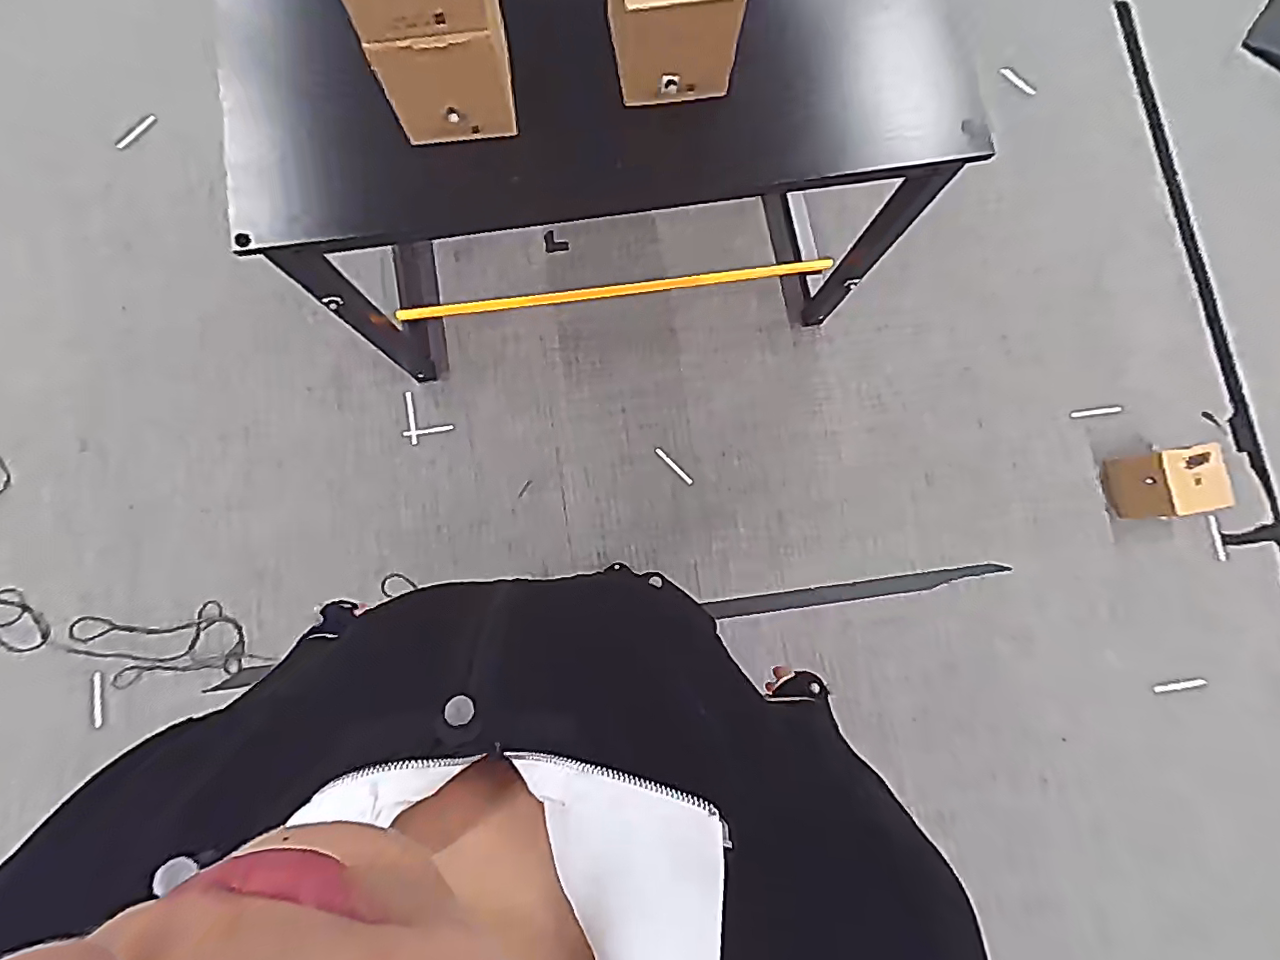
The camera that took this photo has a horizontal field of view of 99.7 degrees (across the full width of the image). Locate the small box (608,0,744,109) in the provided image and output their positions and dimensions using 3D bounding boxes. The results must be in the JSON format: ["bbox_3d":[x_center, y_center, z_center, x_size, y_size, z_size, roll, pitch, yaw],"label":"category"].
[{"bbox_3d":[0.044,-0.702,0.804,0.168,0.176,0.179,-10,84,-2],"label":"small box"}]

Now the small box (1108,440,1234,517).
[{"bbox_3d":[1.456,0.000,1.497,0.168,0.176,0.179,-10,84,-3],"label":"small box"}]

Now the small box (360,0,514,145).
[{"bbox_3d":[-0.286,-0.628,0.781,0.168,0.176,0.179,-7,83,-3],"label":"small box"}]

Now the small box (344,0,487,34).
[{"bbox_3d":[-0.284,-0.657,0.619,0.168,0.176,0.179,-10,84,-3],"label":"small box"}]
